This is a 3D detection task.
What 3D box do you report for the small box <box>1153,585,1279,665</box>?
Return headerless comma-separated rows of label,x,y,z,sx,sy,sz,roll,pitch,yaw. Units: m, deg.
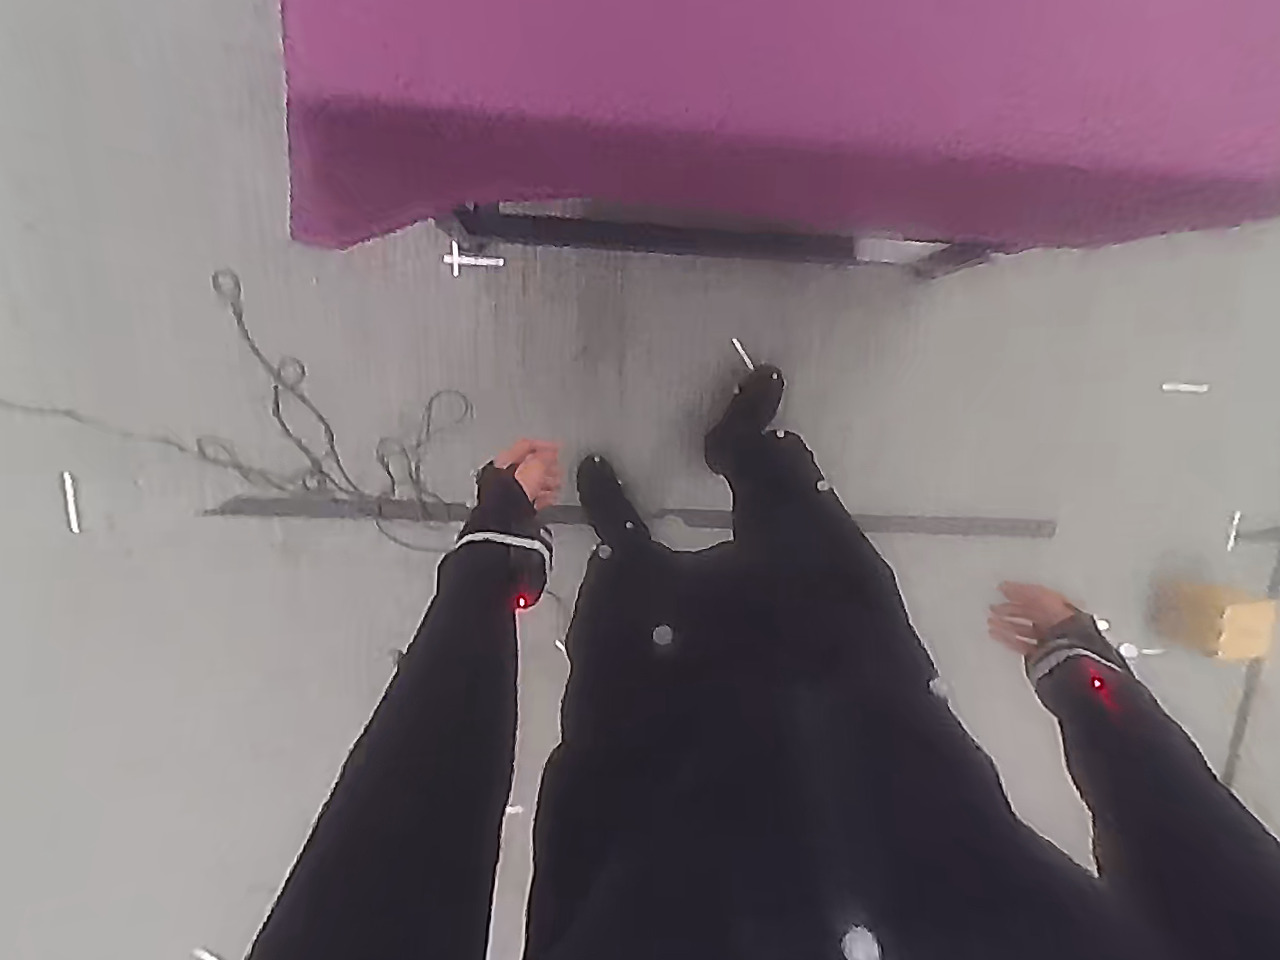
small box,1.654,0.411,1.559,0.179,0.176,0.168,-2,100,-5
